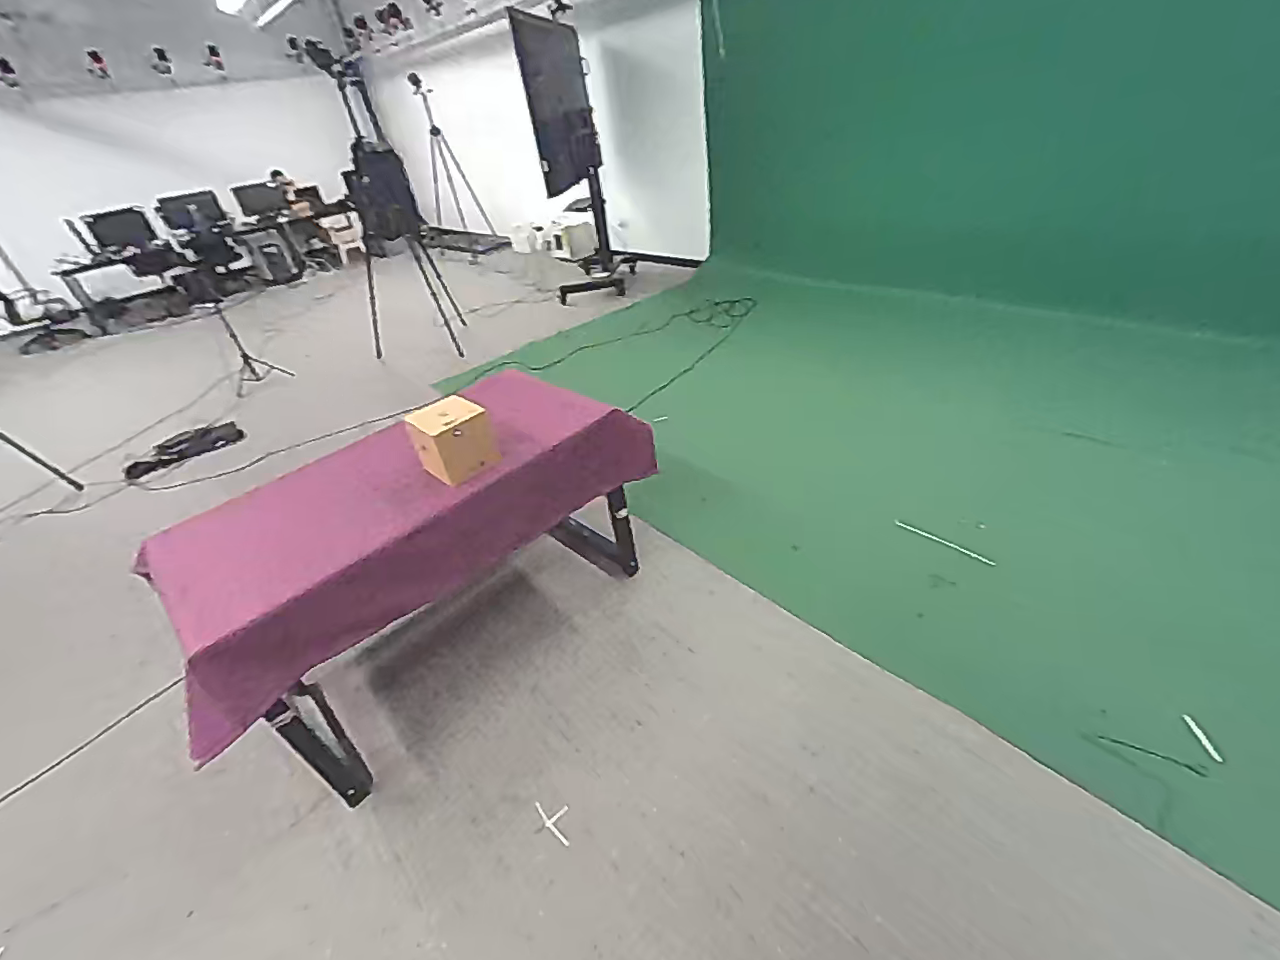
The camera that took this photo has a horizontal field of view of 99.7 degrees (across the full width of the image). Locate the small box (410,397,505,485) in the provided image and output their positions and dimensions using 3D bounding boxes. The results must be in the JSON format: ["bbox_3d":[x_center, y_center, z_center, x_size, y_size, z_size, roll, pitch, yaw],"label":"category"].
[{"bbox_3d":[-0.512,-0.109,1.526,0.179,0.176,0.168,25,49,39],"label":"small box"}]
